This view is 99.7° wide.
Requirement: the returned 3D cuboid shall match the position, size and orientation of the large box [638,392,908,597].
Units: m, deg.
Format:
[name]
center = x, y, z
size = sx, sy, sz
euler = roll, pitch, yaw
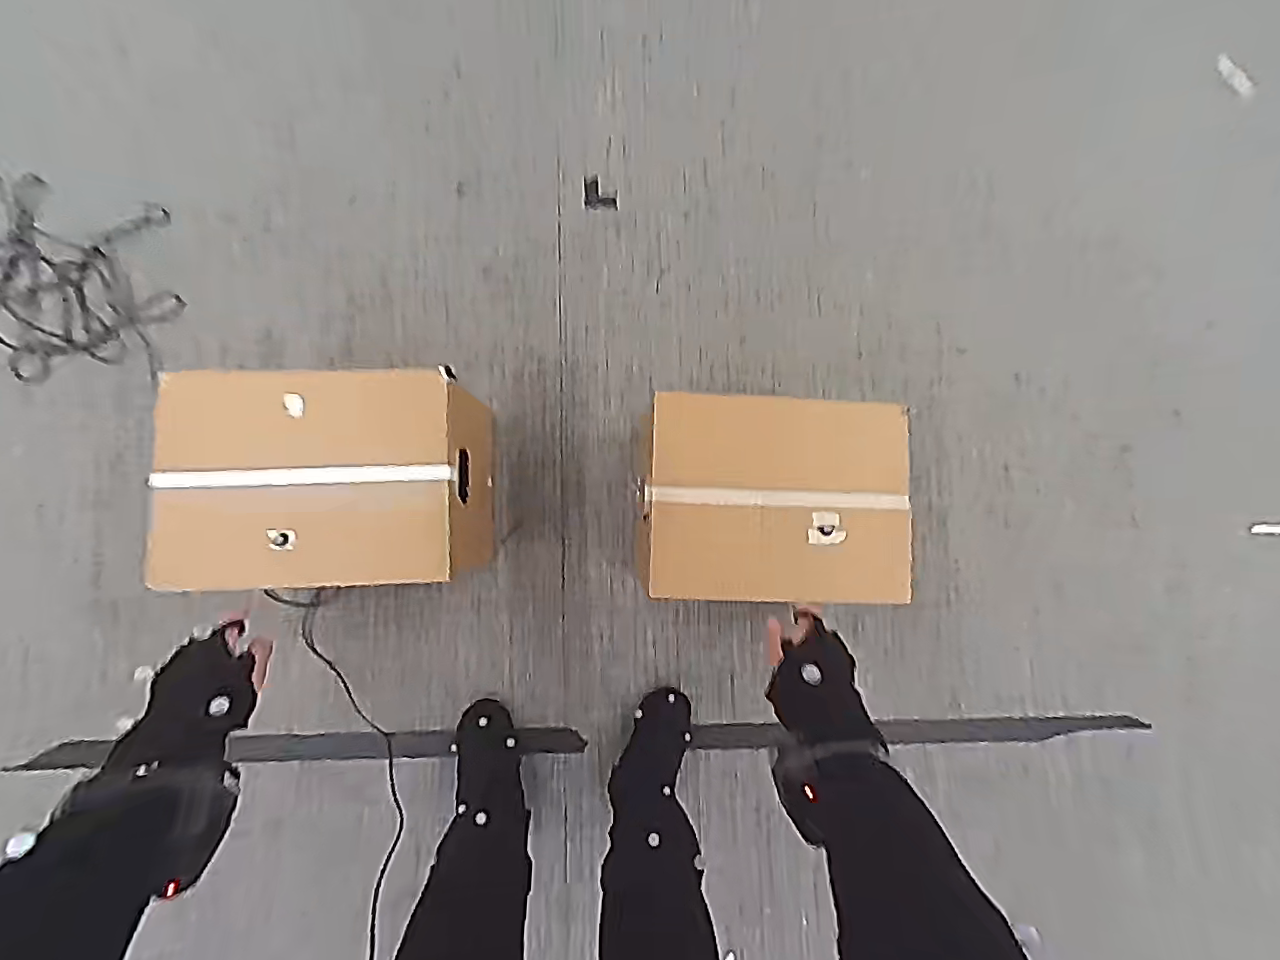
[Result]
[large box]
center = 0.207, 0.037, 0.982
size = 0.408, 0.320, 0.320
euler = 2, 85, -5
